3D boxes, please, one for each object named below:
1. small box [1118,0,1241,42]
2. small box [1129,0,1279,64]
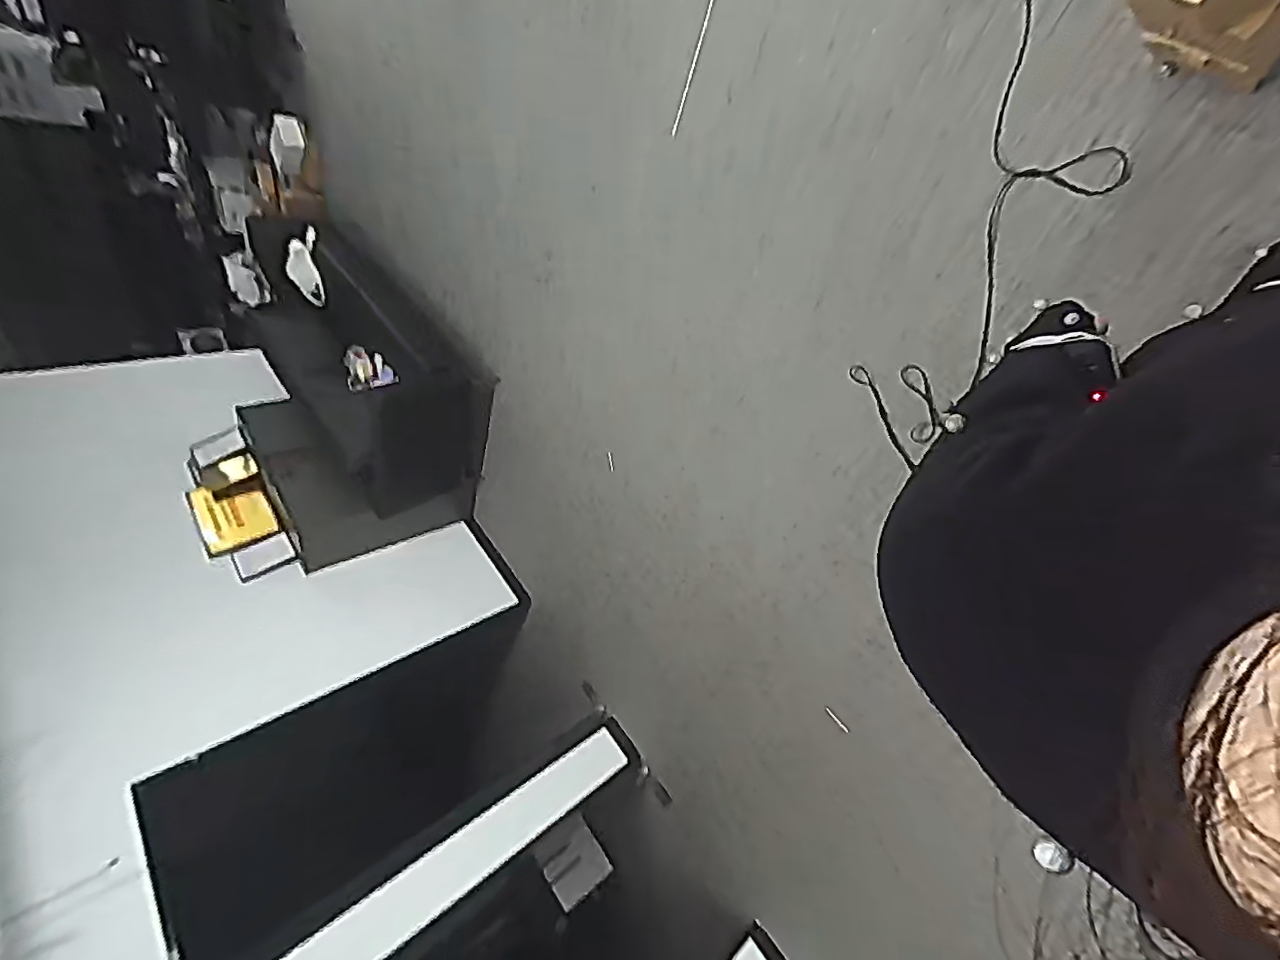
[{"bbox_3d":[0.705,-0.694,0.662,0.168,0.176,0.179,55,137,19],"label":"small box"},{"bbox_3d":[0.838,-0.721,0.758,0.179,0.176,0.168,48,136,23],"label":"small box"}]
